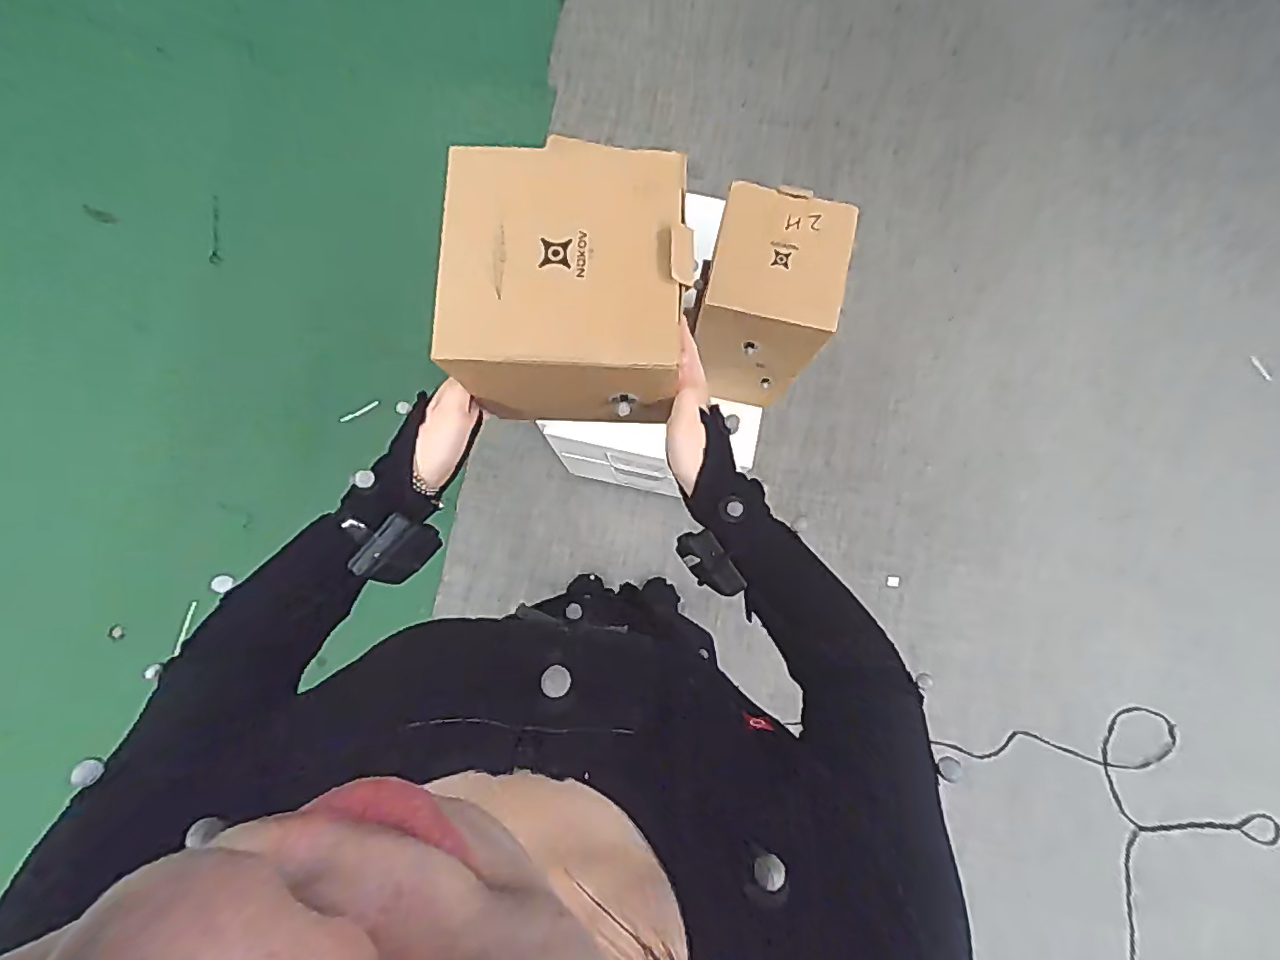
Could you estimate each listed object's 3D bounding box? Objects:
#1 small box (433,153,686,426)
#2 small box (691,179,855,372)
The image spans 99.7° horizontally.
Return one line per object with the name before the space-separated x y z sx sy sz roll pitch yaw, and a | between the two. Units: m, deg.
small box | -0.054 -0.146 0.467 0.179 0.176 0.168 2 81 2
small box | 0.171 -0.268 0.749 0.168 0.176 0.179 13 81 0
